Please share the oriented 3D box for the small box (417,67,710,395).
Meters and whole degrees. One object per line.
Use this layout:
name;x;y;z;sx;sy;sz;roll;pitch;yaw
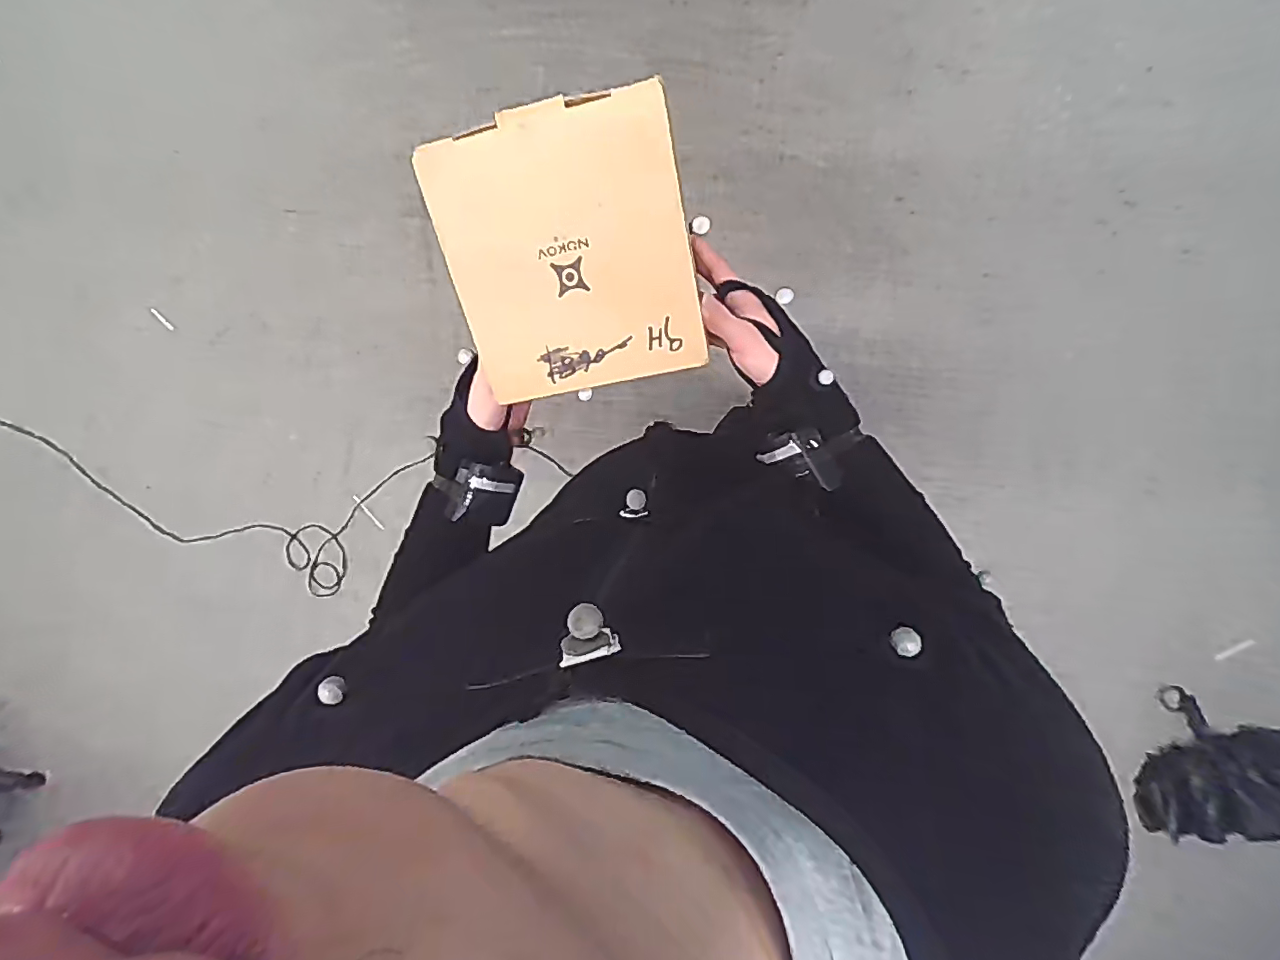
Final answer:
small box;-0.040;-0.187;0.437;0.168;0.176;0.179;-10;114;11
